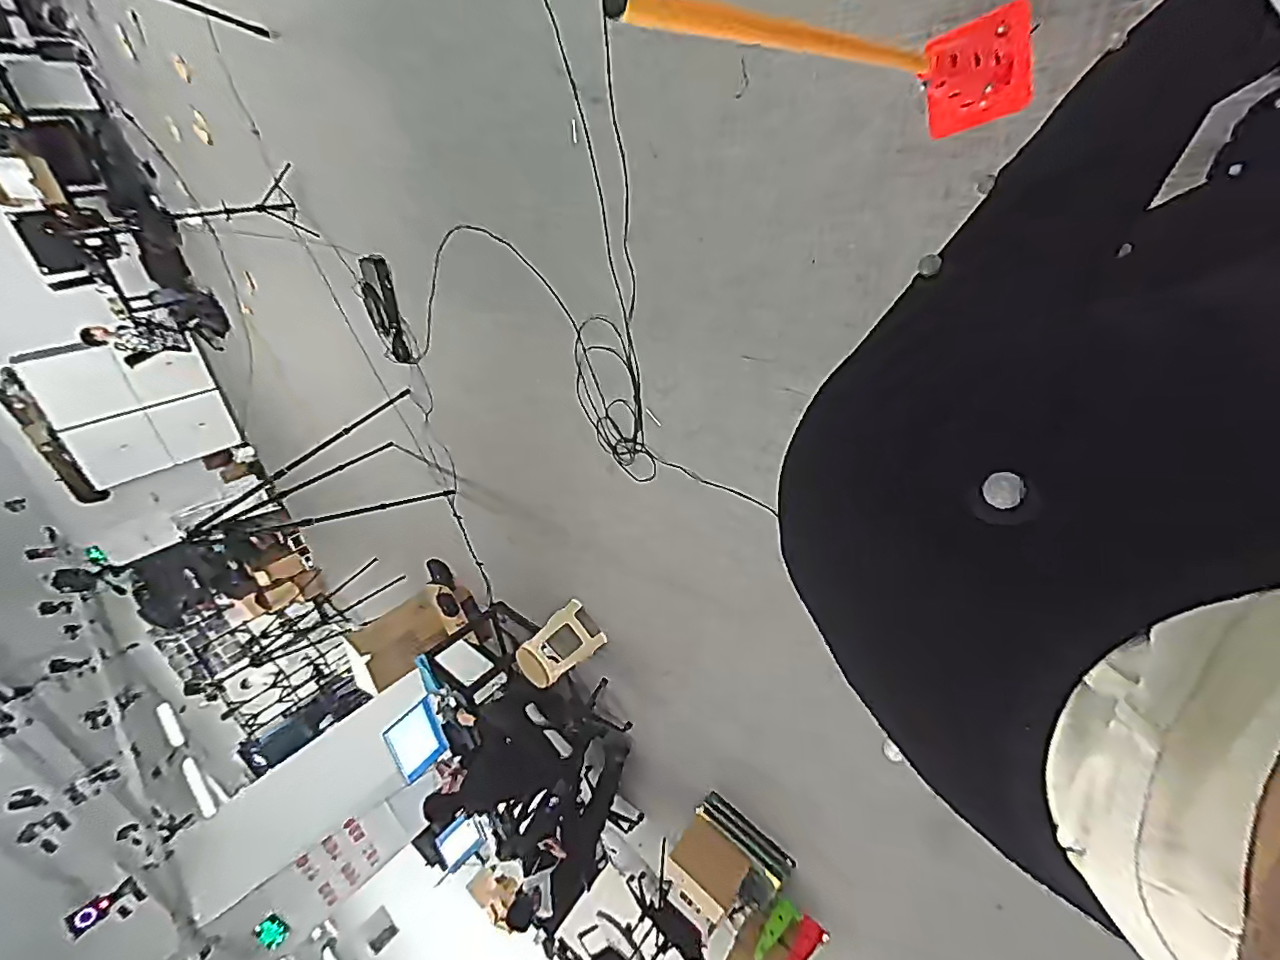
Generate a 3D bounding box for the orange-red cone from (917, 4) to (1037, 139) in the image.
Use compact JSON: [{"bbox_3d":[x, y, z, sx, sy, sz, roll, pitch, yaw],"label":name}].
[{"bbox_3d":[0.628,-0.809,1.073,0.199,0.360,0.198,6,119,46],"label":"orange-red cone"}]
